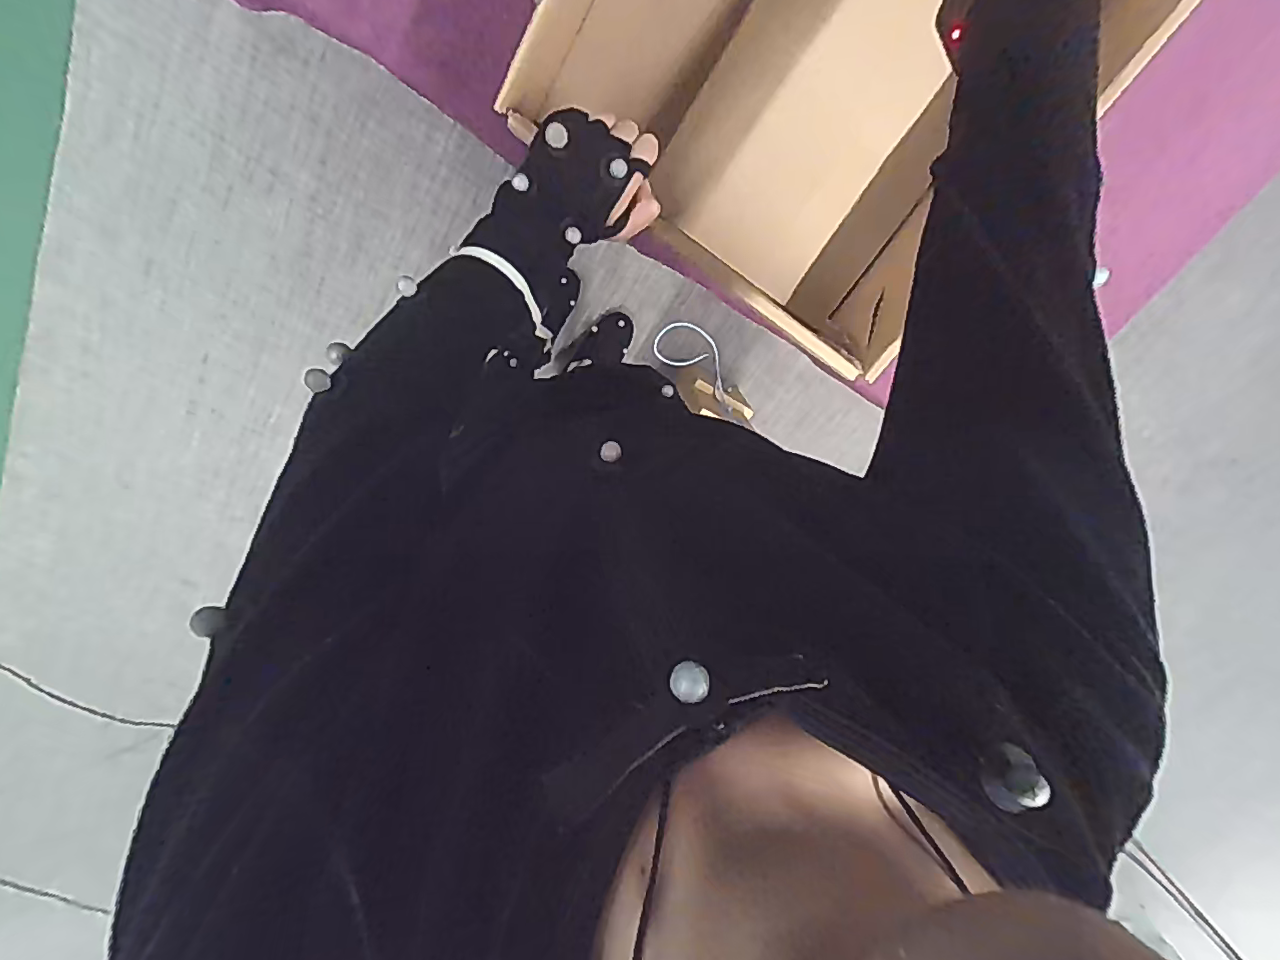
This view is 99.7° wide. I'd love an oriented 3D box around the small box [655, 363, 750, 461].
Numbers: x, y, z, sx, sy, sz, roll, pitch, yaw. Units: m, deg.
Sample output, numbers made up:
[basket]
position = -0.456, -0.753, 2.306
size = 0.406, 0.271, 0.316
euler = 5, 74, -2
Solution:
[small box]
position = 0.156, -0.184, 1.420
size = 0.179, 0.176, 0.168
euler = 27, 113, -18
